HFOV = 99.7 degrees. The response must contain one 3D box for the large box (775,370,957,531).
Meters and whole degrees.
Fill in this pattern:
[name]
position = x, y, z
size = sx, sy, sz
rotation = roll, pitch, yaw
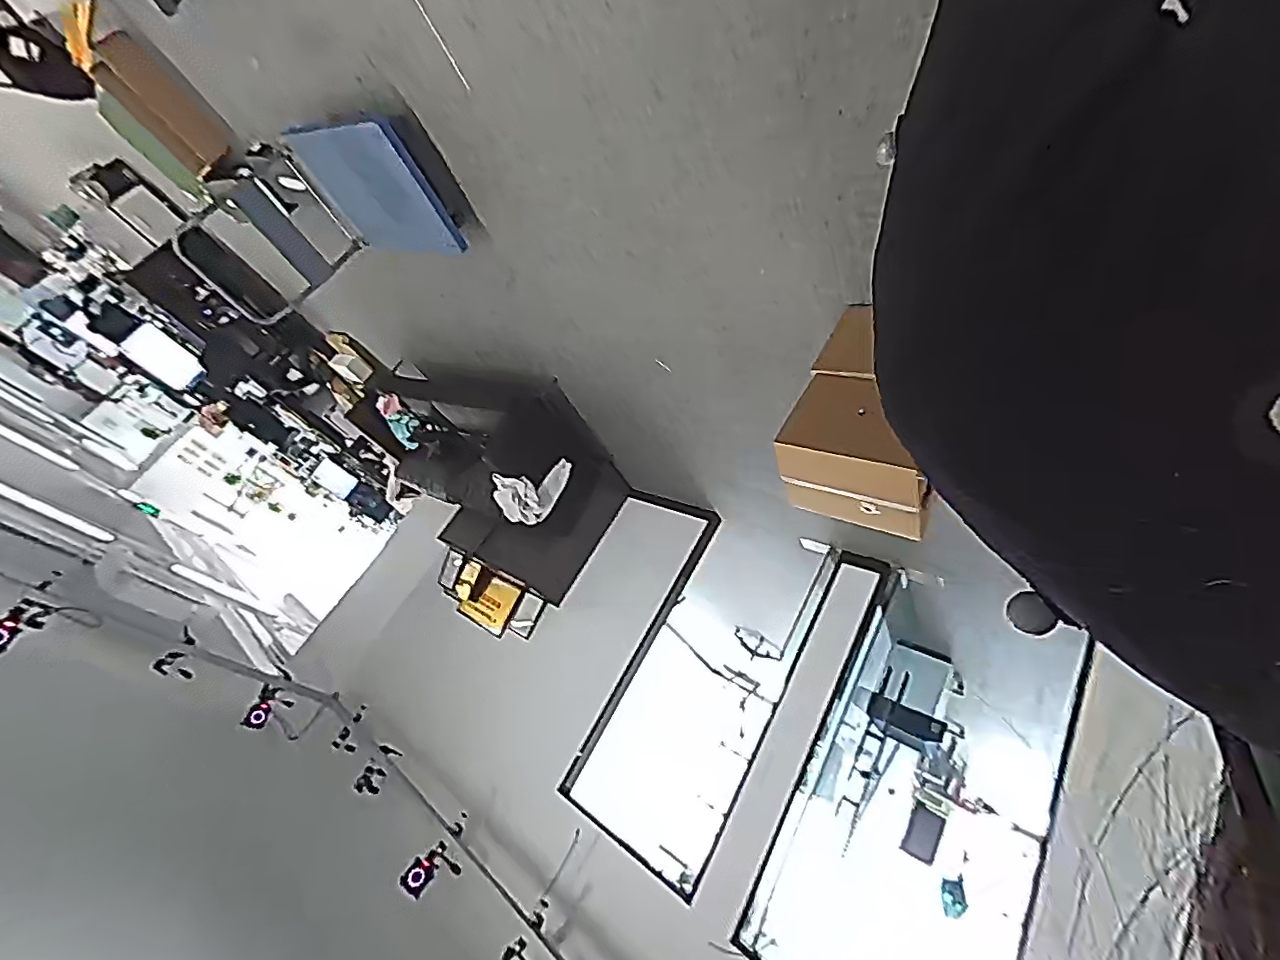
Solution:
[large box]
position = 0.675, -0.102, 1.613
size = 0.408, 0.320, 0.320
rotation = 16, 149, 38
